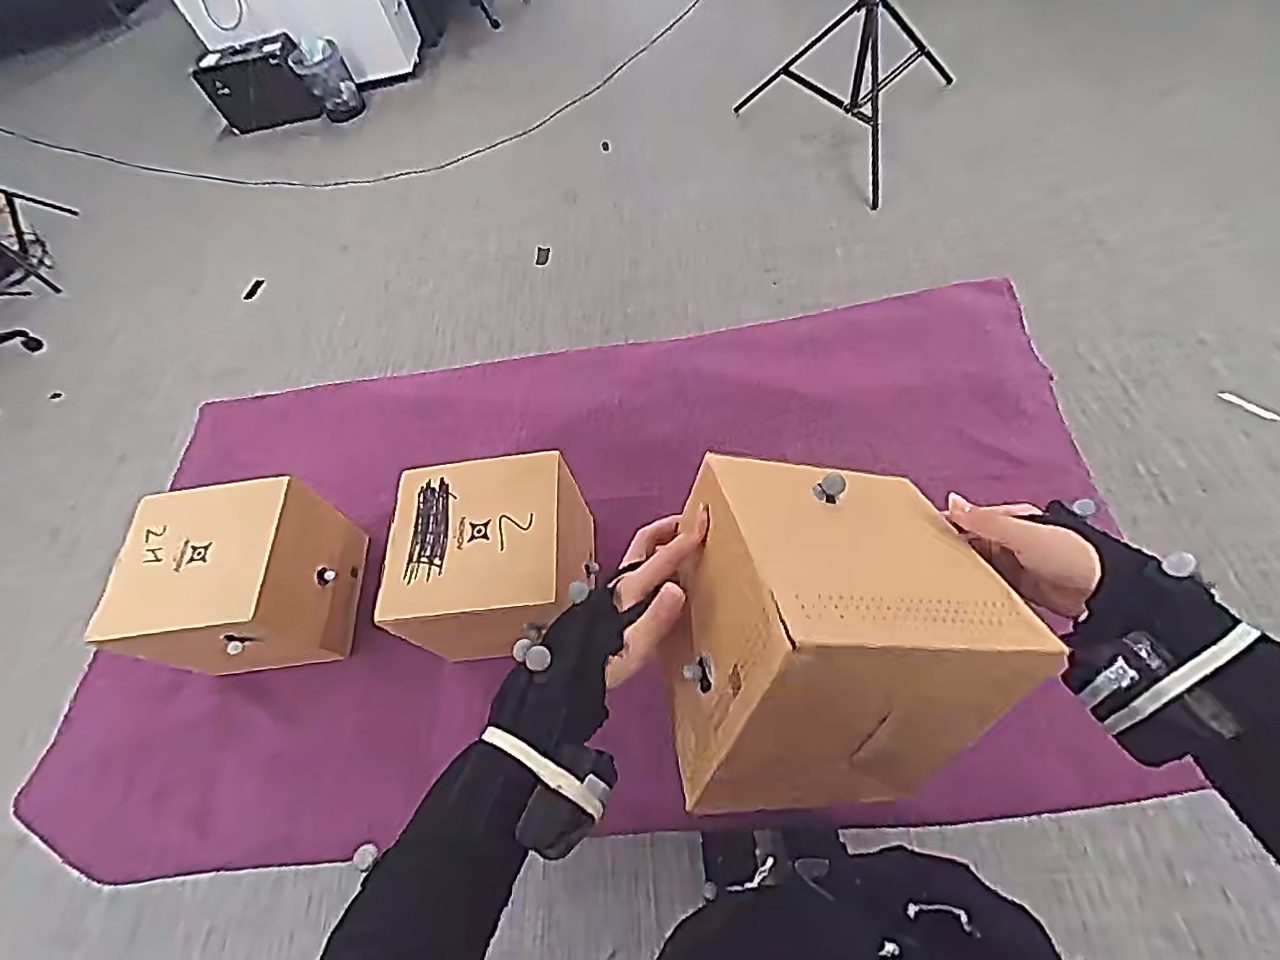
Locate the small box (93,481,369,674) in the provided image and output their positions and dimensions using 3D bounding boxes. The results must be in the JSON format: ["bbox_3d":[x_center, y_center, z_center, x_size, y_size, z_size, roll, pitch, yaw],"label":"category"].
[{"bbox_3d":[-0.451,0.121,0.636,0.179,0.176,0.168,-8,59,3],"label":"small box"}]
